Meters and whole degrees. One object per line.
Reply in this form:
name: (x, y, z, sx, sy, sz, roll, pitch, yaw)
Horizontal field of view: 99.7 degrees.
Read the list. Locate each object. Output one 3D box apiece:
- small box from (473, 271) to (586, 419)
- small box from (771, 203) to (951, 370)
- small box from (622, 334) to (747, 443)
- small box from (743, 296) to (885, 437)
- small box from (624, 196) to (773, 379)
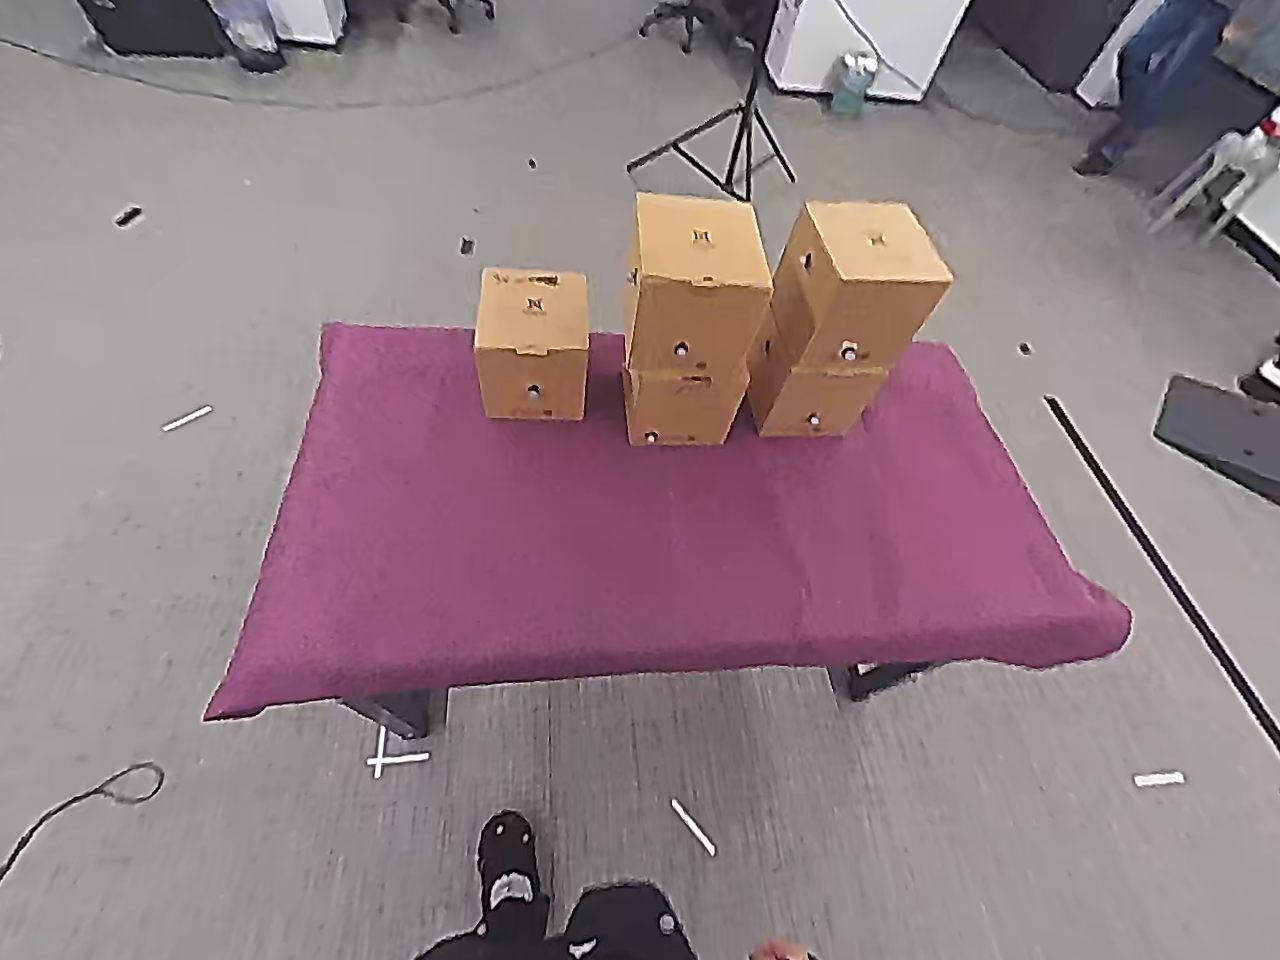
small box: (-0.172, -0.216, 0.892, 0.168, 0.176, 0.179, 1, 59, -8)
small box: (0.314, -0.287, 0.816, 0.168, 0.176, 0.179, -3, 59, -9)
small box: (0.063, -0.175, 0.902, 0.168, 0.176, 0.179, -1, 57, -9)
small box: (0.290, -0.196, 0.948, 0.168, 0.176, 0.179, -1, 58, -8)
small box: (0.069, -0.266, 0.766, 0.168, 0.176, 0.179, 1, 59, -8)
